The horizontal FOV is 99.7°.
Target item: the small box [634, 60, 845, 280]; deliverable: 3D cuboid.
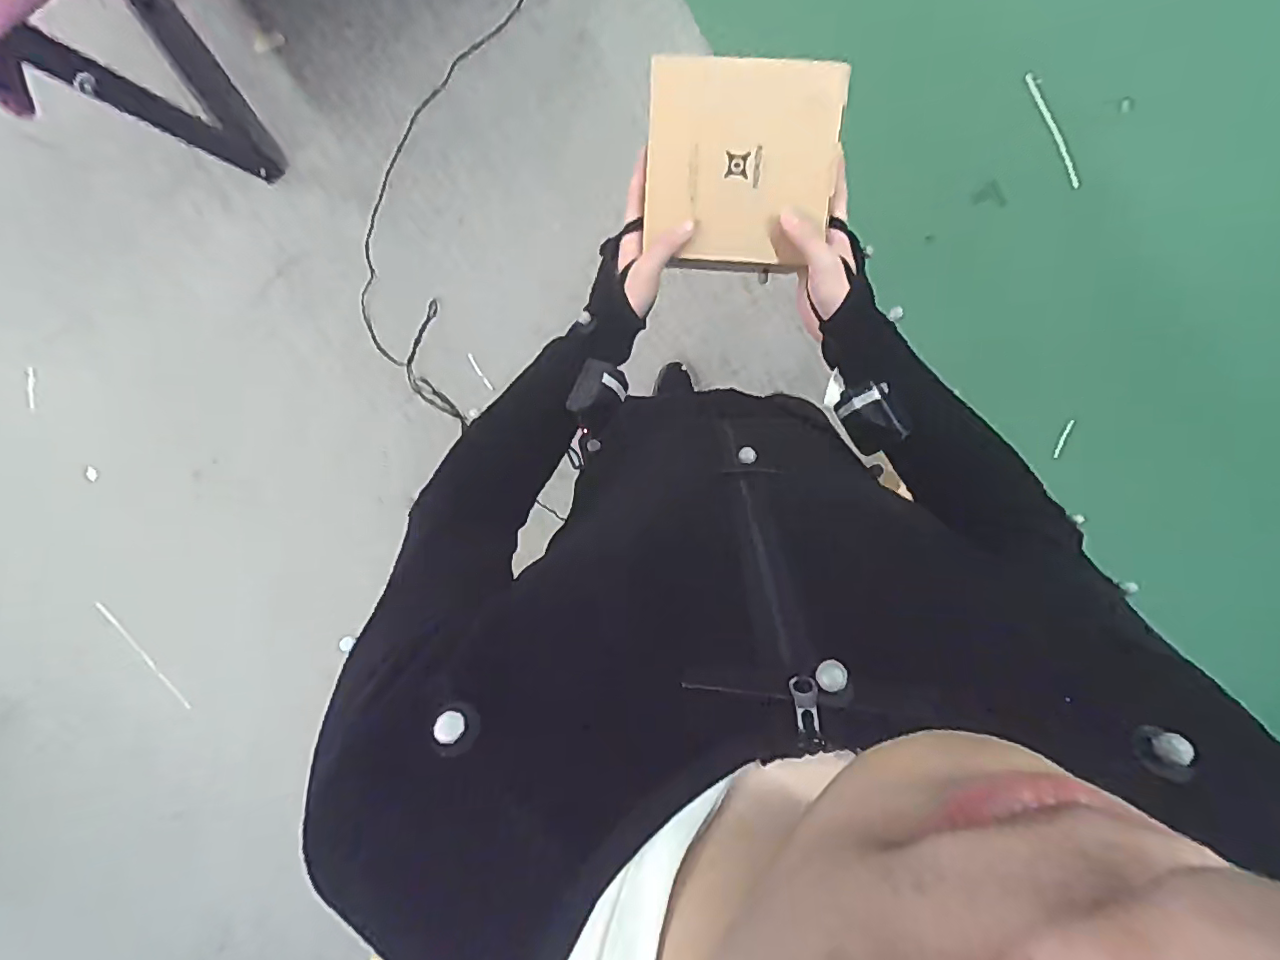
[{"bbox_3d":[0.089,-0.304,0.566,0.179,0.176,0.168,4,108,2],"label":"small box"}]
